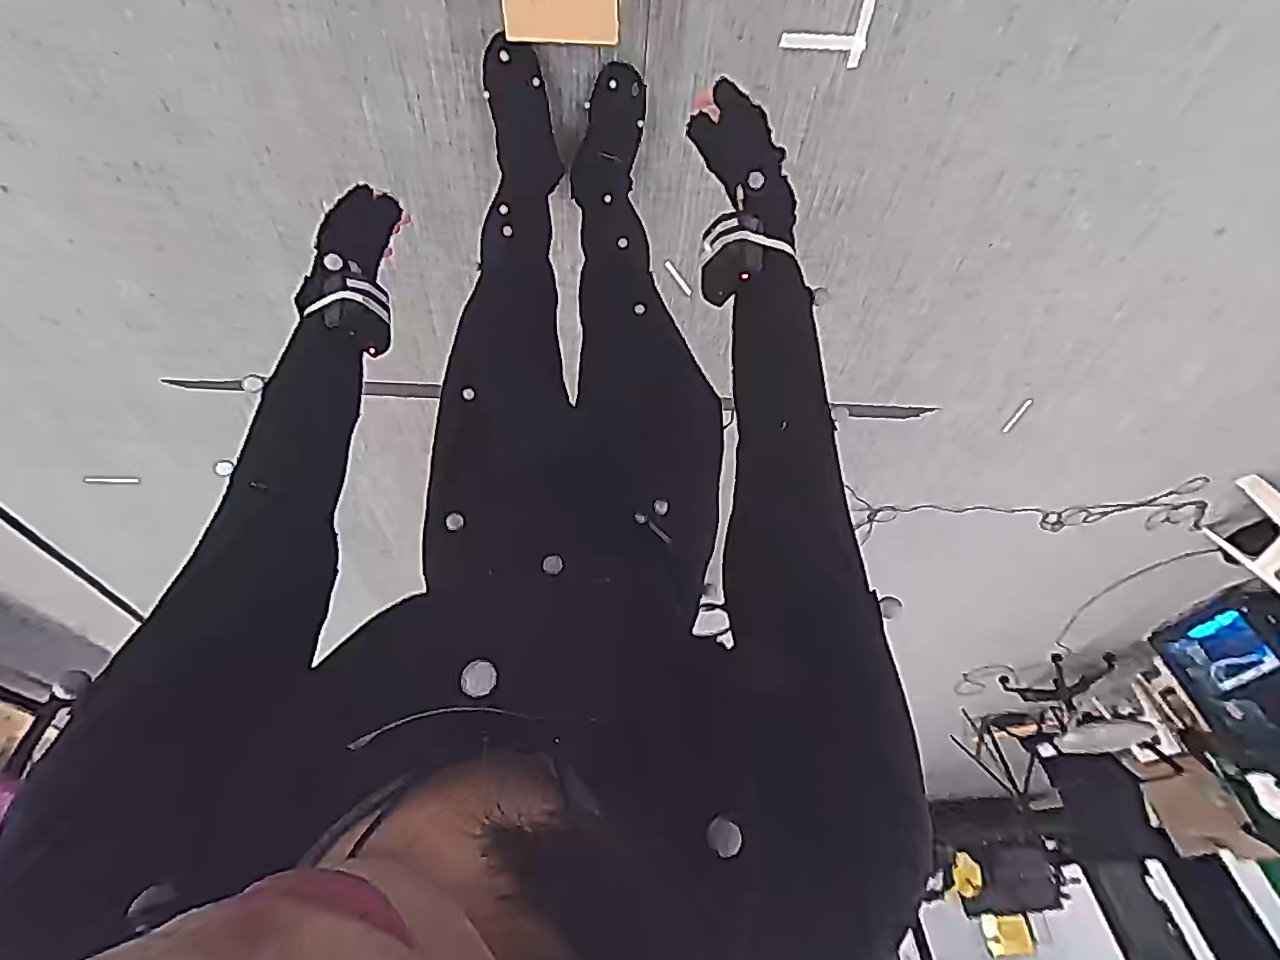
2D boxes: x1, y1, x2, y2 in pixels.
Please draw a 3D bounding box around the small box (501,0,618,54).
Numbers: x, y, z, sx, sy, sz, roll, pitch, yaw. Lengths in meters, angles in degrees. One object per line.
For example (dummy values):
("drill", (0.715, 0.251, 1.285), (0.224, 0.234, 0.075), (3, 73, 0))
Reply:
("small box", (-0.124, -0.785, 0.839), (0.179, 0.176, 0.168), (0, 137, -3))
